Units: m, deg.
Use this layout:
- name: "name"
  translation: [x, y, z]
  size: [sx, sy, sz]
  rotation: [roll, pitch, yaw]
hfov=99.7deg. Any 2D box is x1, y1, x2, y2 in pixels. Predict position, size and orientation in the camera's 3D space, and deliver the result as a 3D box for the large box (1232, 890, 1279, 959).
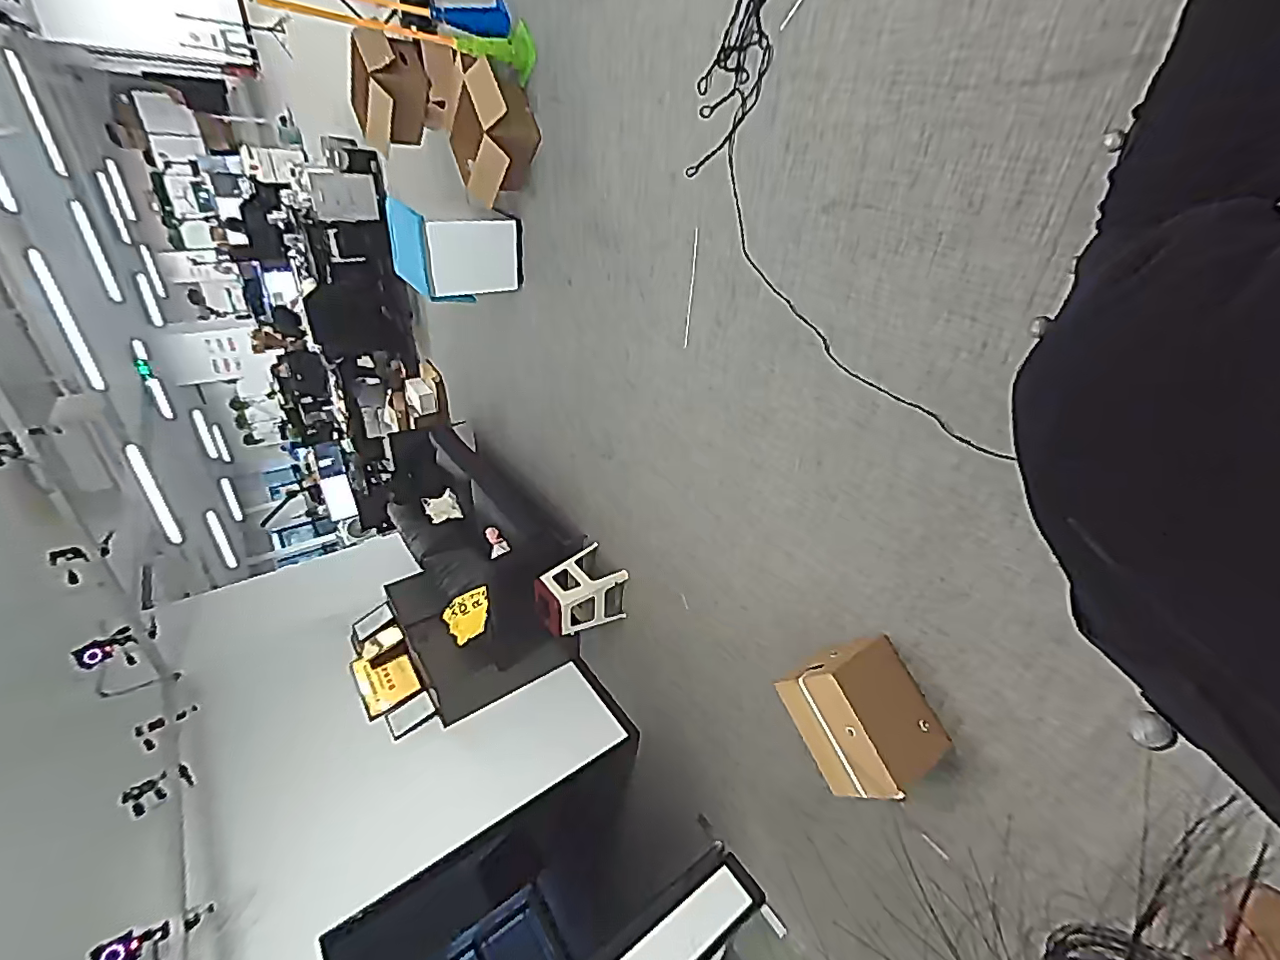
- name: "large box"
  translation: [1.424, 1.139, 1.037]
  size: [0.408, 0.320, 0.320]
  rotation: [21, 124, 50]
